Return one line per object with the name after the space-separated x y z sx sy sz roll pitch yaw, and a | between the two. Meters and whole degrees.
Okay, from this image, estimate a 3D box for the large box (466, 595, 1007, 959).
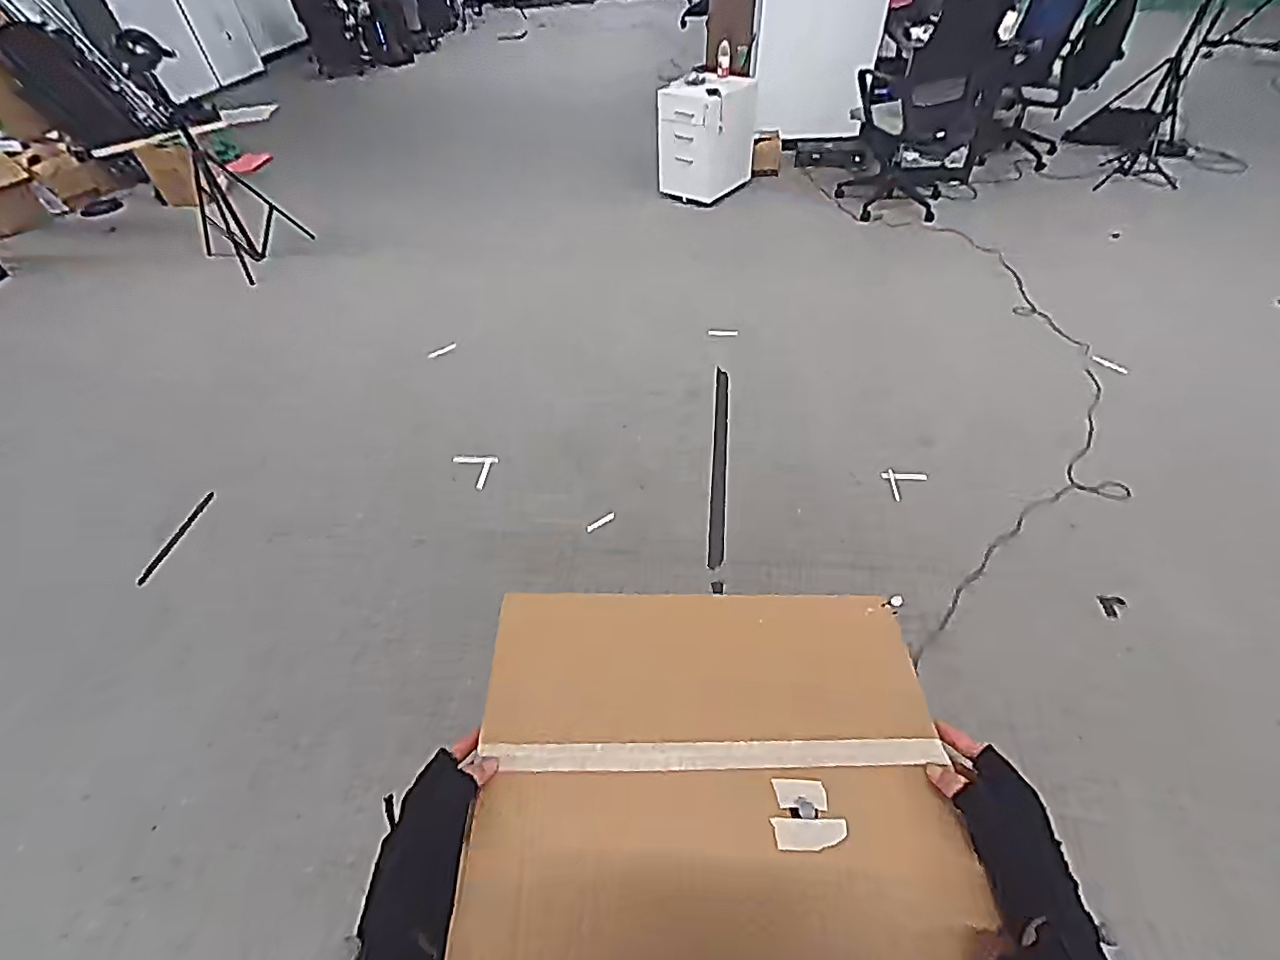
0.059 0.340 0.591 0.408 0.320 0.320 0 49 -3 | large box
